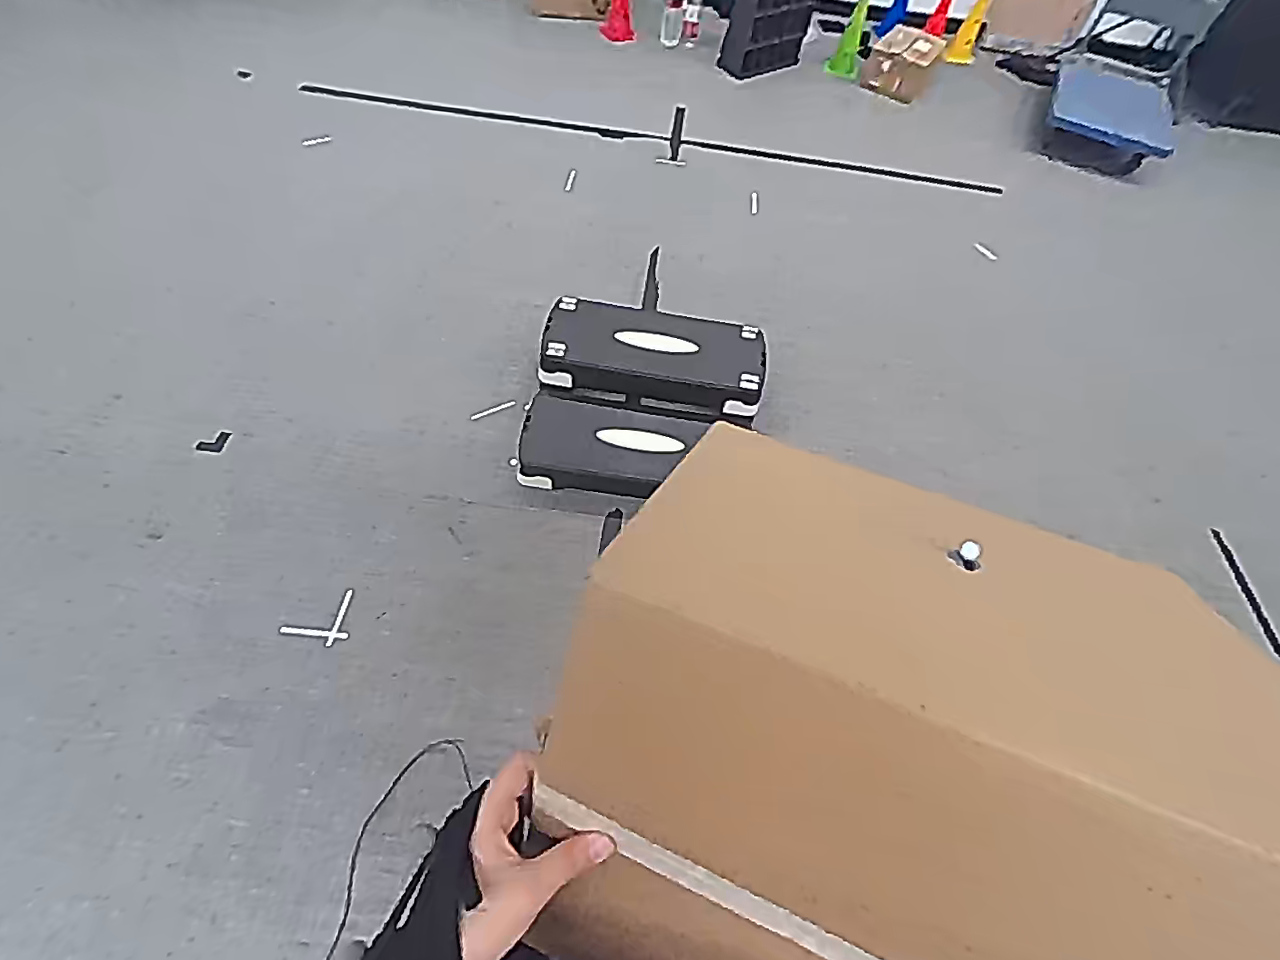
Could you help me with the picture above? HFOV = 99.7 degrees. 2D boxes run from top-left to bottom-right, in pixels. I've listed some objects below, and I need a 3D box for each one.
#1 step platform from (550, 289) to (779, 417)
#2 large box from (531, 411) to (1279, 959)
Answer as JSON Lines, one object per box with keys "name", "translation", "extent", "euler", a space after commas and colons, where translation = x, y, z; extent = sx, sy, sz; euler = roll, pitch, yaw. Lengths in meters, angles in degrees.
{"name": "step platform", "translation": [0.076, -0.365, 1.665], "extent": [0.684, 0.204, 0.286], "euler": [14, 58, 1]}
{"name": "large box", "translation": [0.184, 0.172, 0.402], "extent": [0.408, 0.320, 0.320], "euler": [20, 25, 12]}
